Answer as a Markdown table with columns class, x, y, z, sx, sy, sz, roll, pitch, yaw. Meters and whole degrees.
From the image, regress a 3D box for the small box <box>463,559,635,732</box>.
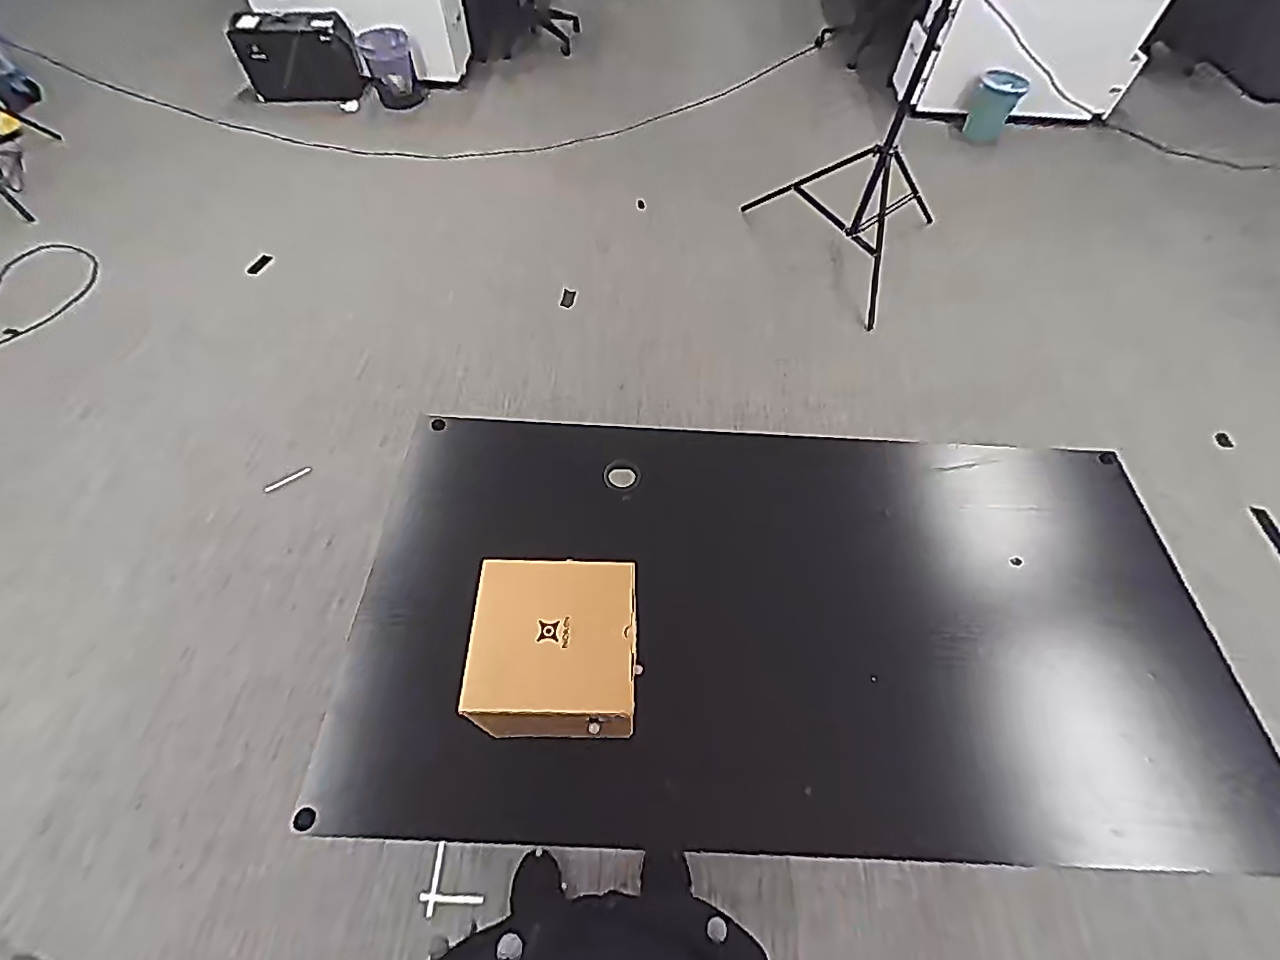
| class | x | y | z | sx | sy | sz | roll | pitch | yaw |
| --- | --- | --- | --- | --- | --- | --- | --- | --- | --- |
| small box | -0.096 | 0.206 | 0.657 | 0.179 | 0.176 | 0.168 | 1 | 58 | -2 |
